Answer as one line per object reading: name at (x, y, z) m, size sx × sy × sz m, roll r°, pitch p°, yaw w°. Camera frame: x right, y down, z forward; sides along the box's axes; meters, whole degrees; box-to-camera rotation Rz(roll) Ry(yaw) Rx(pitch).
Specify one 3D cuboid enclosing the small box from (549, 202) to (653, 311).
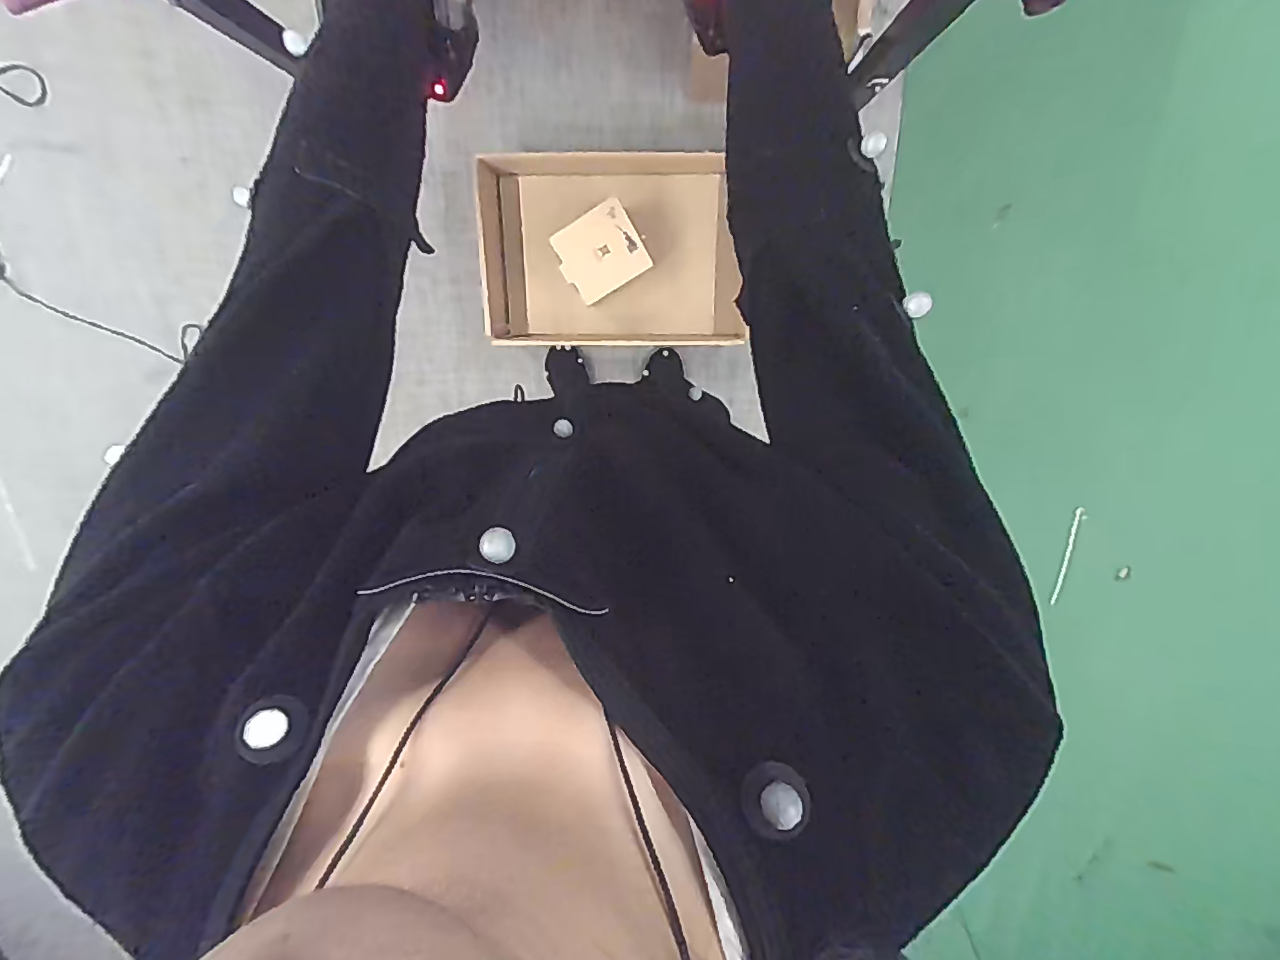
small box at (-0.081, -0.504, 1.246) m, size 0.179 × 0.176 × 0.168 m, roll -28°, pitch 104°, yaw 11°
